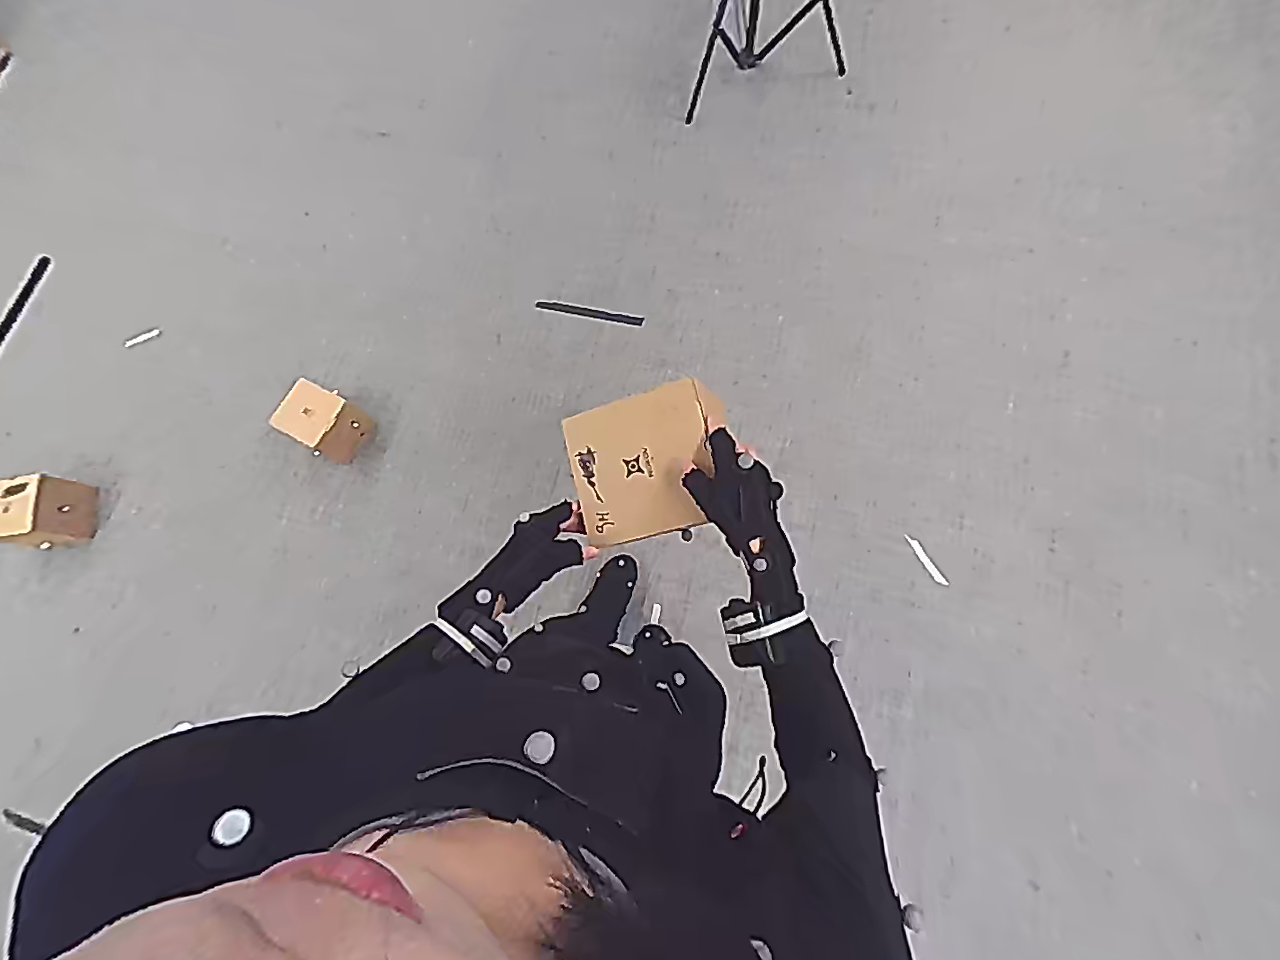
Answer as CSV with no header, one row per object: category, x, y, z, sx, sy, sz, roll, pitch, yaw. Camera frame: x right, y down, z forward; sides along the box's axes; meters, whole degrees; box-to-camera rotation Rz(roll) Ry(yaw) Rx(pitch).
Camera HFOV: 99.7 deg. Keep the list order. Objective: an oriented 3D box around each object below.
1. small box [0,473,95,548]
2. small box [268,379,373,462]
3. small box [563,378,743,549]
small box,-1.778,0.094,1.598,0.168,0.176,0.179,-9,76,1
small box,-0.947,-0.171,1.623,0.179,0.176,0.168,26,77,10
small box,0.028,-0.015,0.692,0.179,0.176,0.168,-15,83,17
